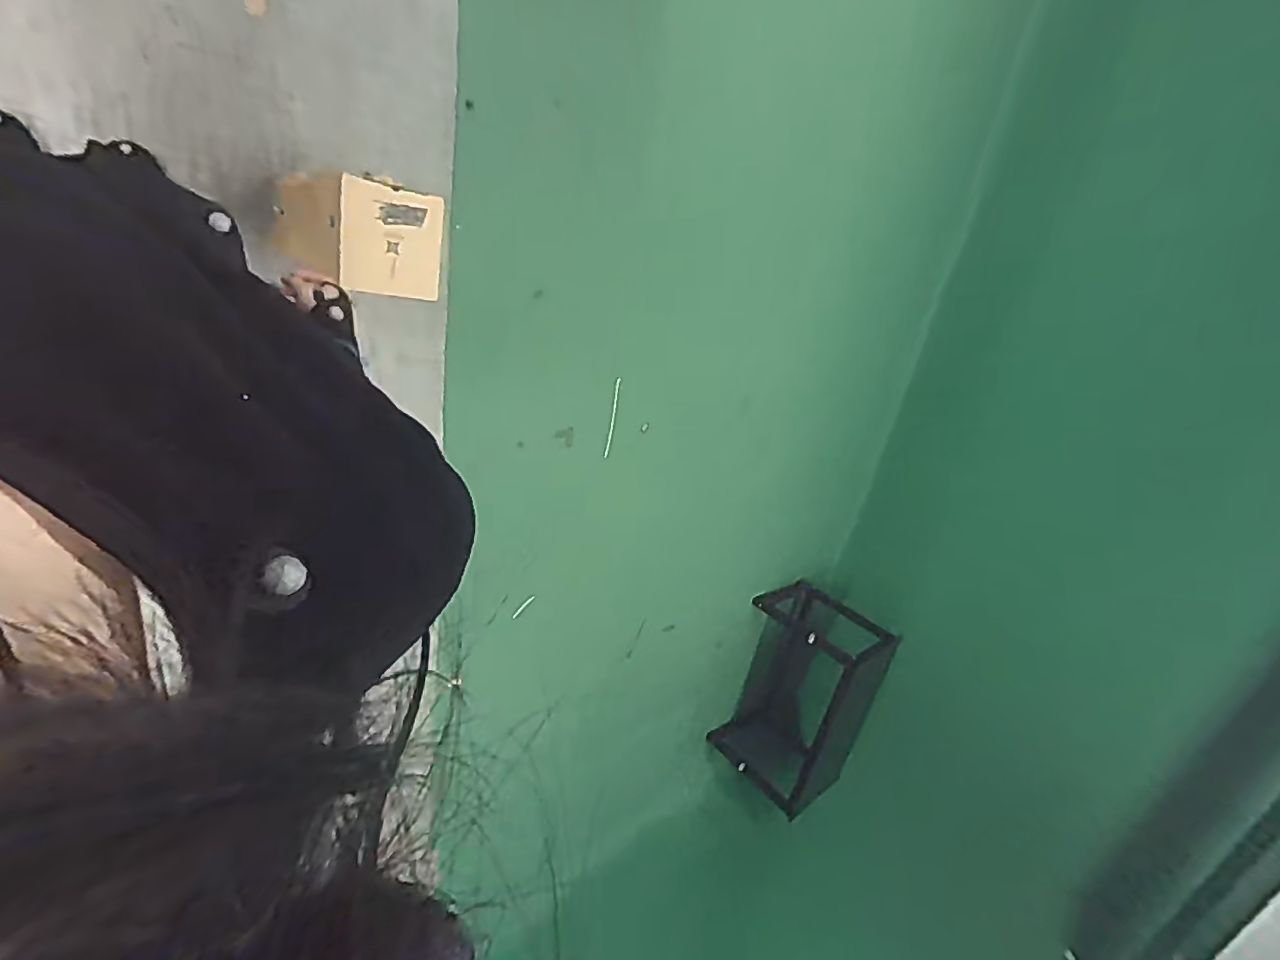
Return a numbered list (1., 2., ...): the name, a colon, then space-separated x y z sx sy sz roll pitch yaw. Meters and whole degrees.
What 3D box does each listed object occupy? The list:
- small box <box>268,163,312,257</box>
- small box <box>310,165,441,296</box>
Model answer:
1. small box: -0.687 -0.565 1.176 0.179 0.176 0.168 3 111 -46
2. small box: -0.473 -0.442 0.959 0.168 0.176 0.179 -8 120 -43
